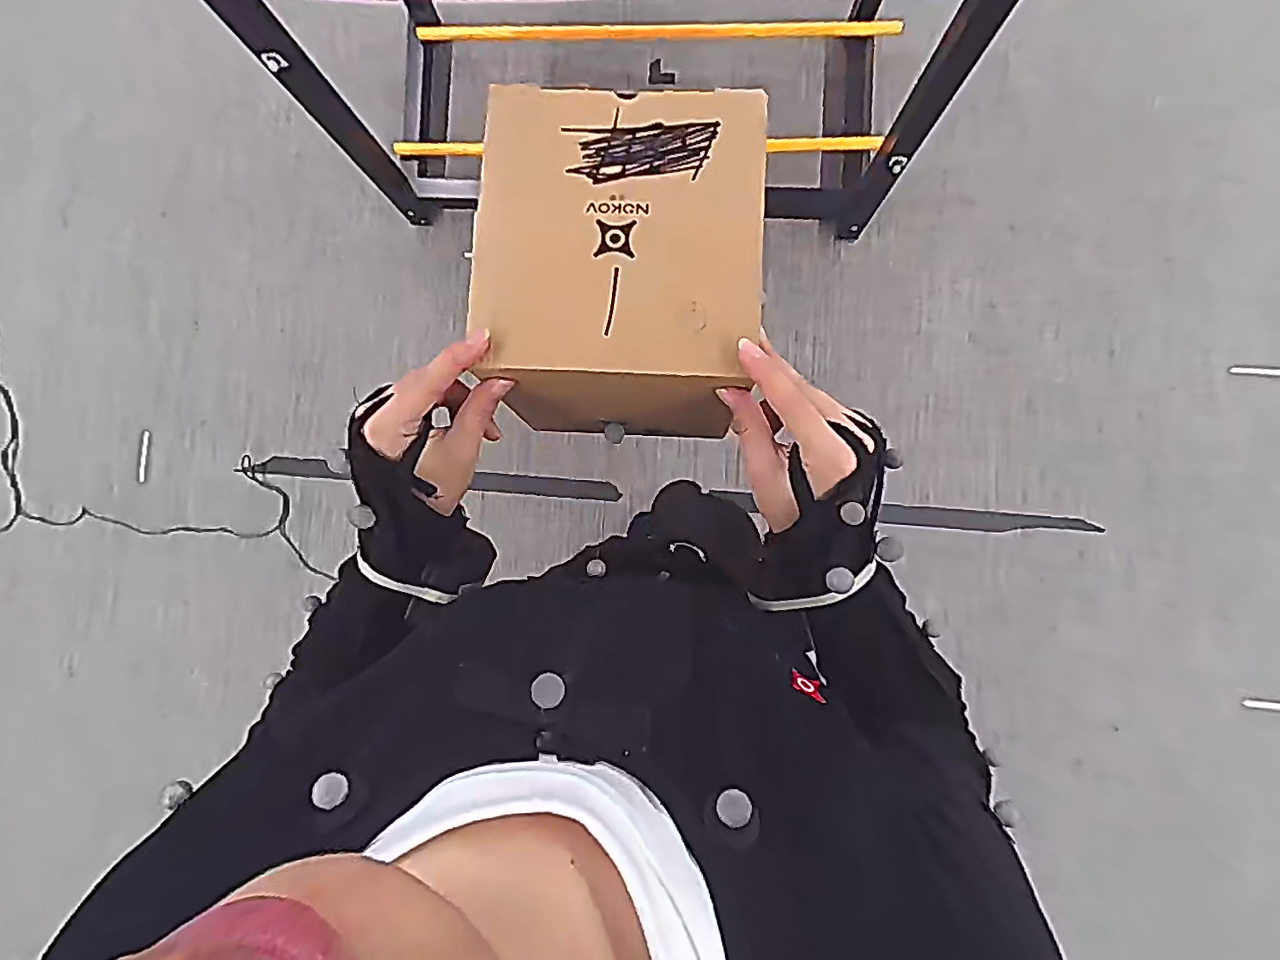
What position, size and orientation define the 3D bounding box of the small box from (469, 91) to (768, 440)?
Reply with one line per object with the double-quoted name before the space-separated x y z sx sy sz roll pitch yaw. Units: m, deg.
"small box" -0.008 -0.135 0.393 0.168 0.176 0.179 3 83 3
